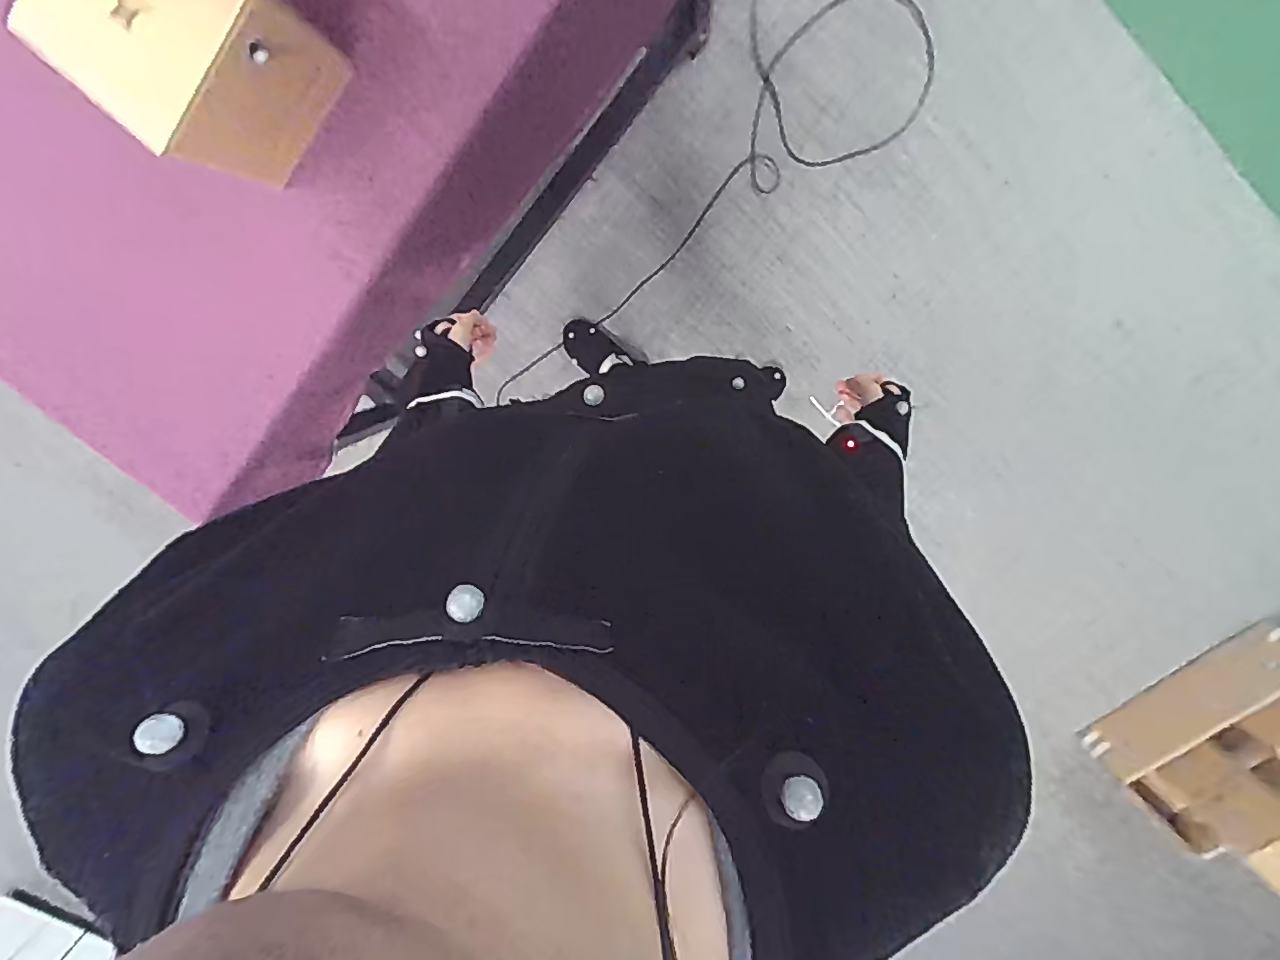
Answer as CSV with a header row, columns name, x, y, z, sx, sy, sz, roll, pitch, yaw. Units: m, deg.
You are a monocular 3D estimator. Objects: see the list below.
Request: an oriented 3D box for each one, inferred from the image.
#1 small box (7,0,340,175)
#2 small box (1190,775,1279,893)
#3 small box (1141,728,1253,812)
name,x,y,z,sx,sy,sz,roll,pitch,yaw
small box,-0.460,-0.460,0.564,0.168,0.176,0.179,42,104,-9
small box,1.602,0.902,1.393,0.179,0.176,0.168,43,105,-9
small box,1.618,0.856,1.549,0.179,0.176,0.168,43,103,-8
